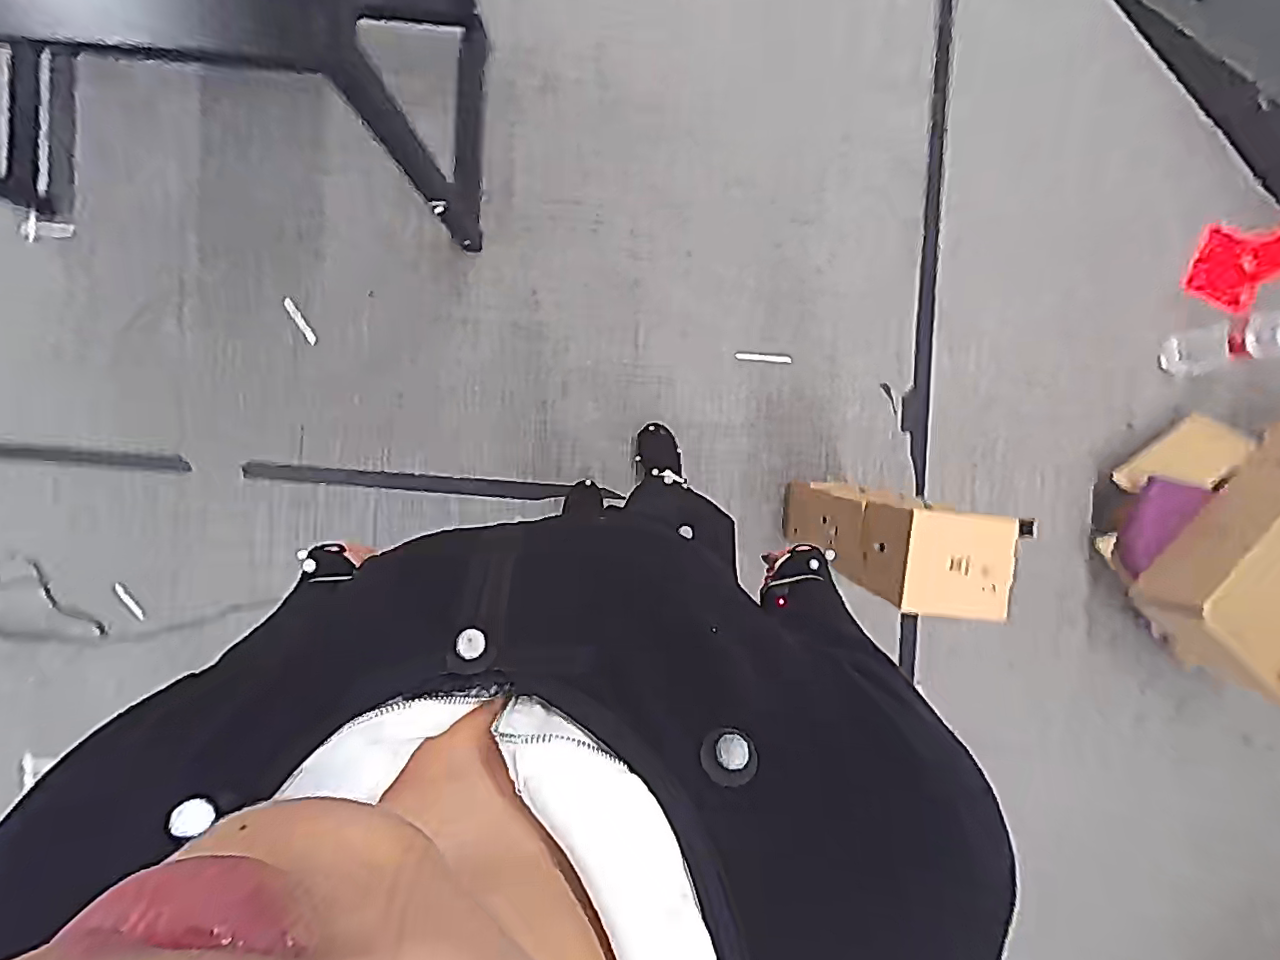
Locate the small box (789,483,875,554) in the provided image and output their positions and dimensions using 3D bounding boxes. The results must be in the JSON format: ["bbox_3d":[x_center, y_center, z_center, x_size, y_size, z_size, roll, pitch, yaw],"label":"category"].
[{"bbox_3d":[0.499,0.102,1.425,0.168,0.176,0.179,4,91,-2],"label":"small box"}]

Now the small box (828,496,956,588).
[{"bbox_3d":[0.503,0.122,1.097,0.179,0.176,0.168,2,92,-1],"label":"small box"}]

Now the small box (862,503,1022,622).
[{"bbox_3d":[0.507,0.133,0.933,0.179,0.176,0.168,6,93,-2],"label":"small box"}]

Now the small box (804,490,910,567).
[{"bbox_3d":[0.500,0.110,1.262,0.179,0.176,0.168,2,92,-2],"label":"small box"}]
